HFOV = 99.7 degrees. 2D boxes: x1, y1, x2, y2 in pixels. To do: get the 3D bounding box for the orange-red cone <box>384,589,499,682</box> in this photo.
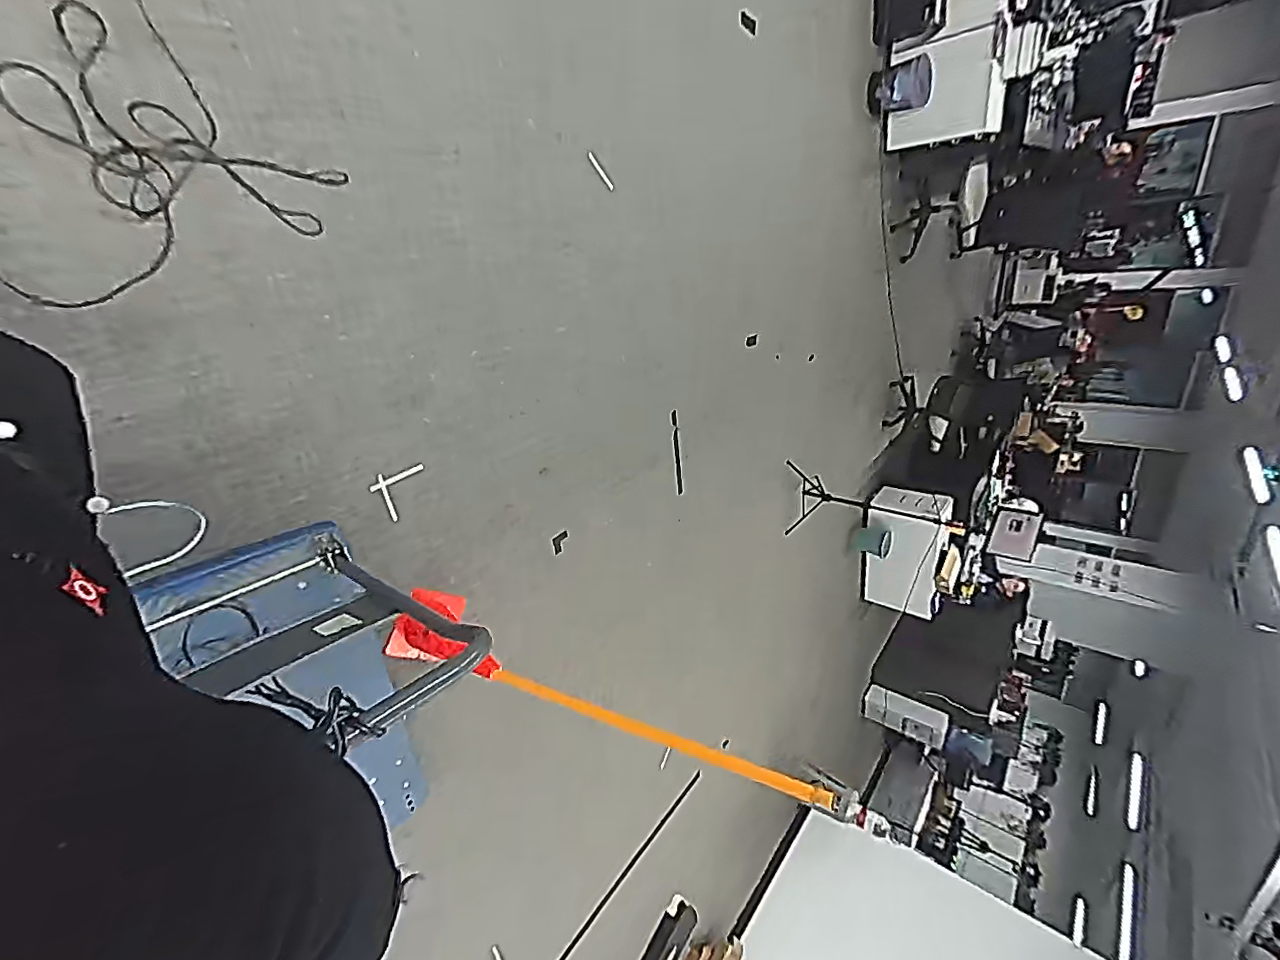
[{"bbox_3d":[-0.503,0.465,1.483,0.198,0.360,0.199,34,76,-49],"label":"orange-red cone"}]
